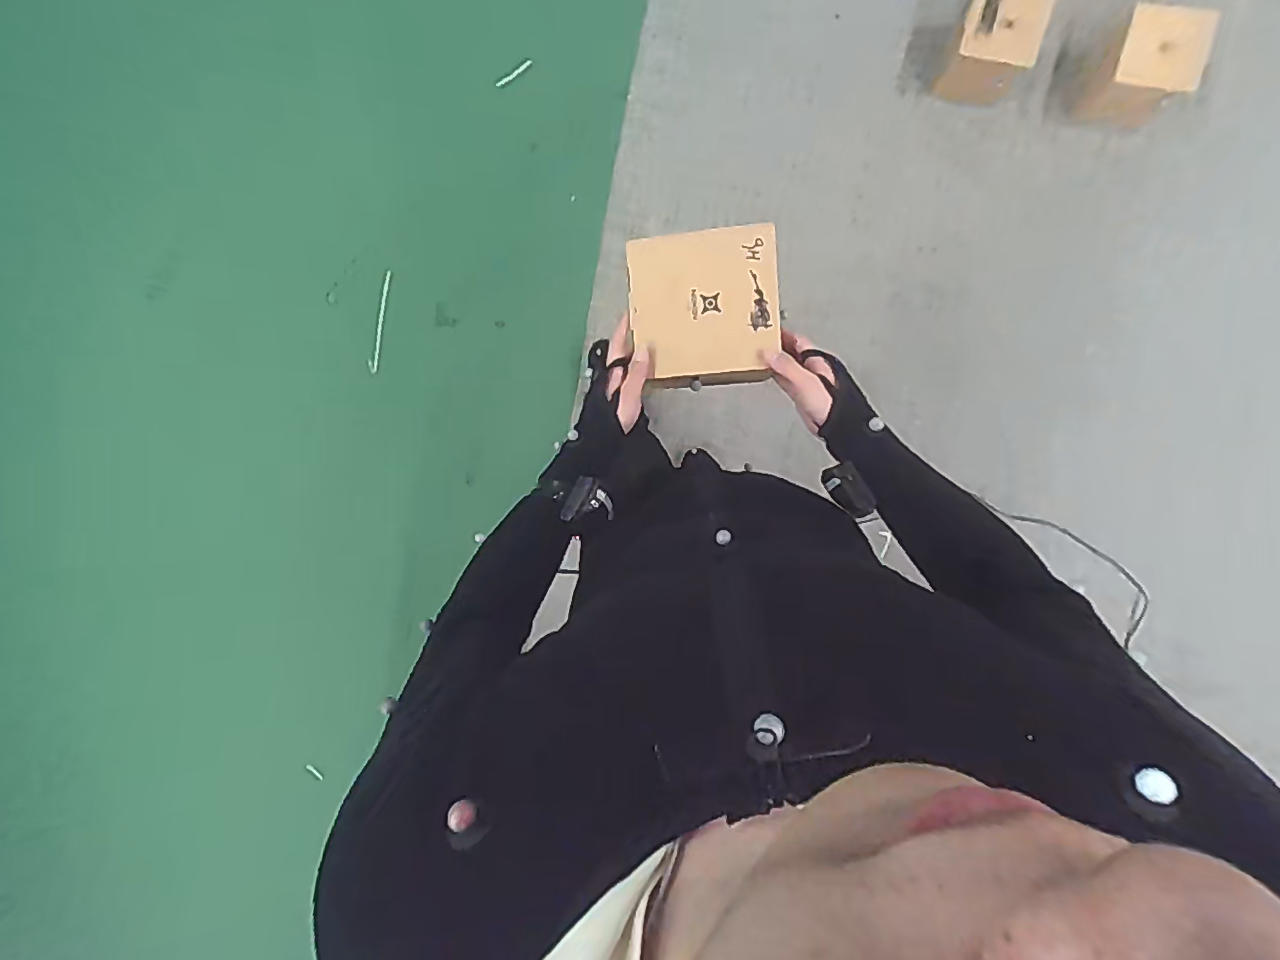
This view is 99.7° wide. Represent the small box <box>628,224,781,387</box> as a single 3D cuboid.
[{"bbox_3d":[0.085,-0.212,0.702,0.179,0.176,0.168,-1,96,7],"label":"small box"}]

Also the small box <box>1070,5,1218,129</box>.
[{"bbox_3d":[1.173,-0.963,1.275,0.179,0.176,0.168,11,98,5],"label":"small box"}]
